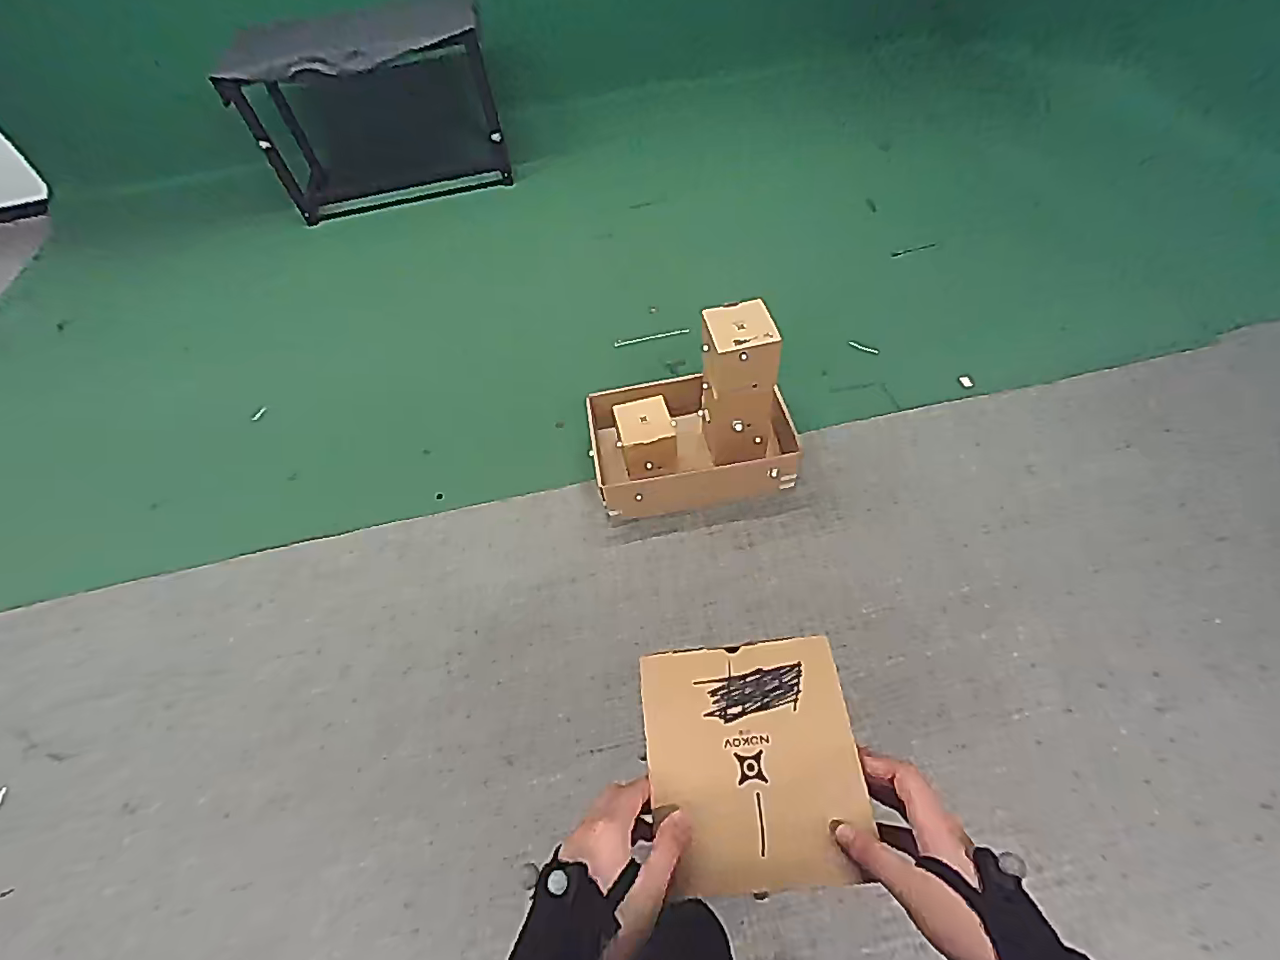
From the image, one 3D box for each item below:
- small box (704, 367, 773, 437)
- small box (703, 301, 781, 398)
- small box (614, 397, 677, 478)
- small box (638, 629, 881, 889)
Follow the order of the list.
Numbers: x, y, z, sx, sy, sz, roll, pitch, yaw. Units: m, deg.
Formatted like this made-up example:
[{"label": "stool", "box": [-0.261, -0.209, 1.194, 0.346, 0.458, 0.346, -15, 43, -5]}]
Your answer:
[{"label": "small box", "box": [0.282, -0.254, 1.590, 0.168, 0.176, 0.179, -10, 55, 1]}, {"label": "small box", "box": [0.266, -0.348, 1.456, 0.168, 0.176, 0.179, -12, 54, -1]}, {"label": "small box", "box": [0.017, -0.134, 1.735, 0.168, 0.176, 0.179, -13, 55, -4]}, {"label": "small box", "box": [0.092, 0.252, 0.491, 0.168, 0.176, 0.179, -7, 58, 4]}]
